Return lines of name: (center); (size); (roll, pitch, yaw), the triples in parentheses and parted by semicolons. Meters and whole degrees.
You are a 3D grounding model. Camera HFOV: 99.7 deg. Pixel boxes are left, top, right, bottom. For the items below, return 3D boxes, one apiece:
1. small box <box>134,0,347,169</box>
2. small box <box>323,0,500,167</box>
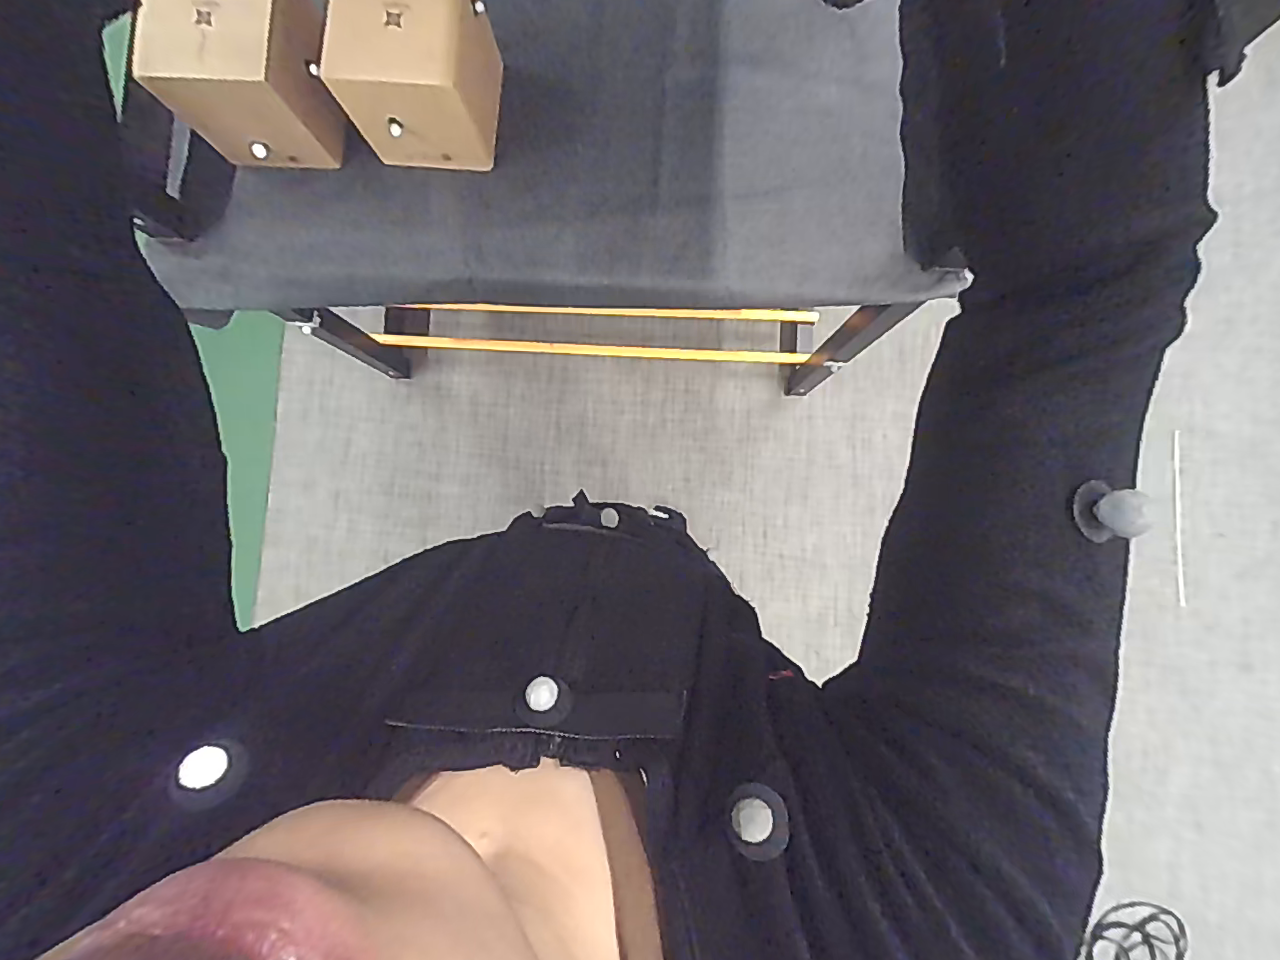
small box: (-0.526, -0.567, 0.740); (0.168, 0.176, 0.179); (3, 86, 0)
small box: (-0.299, -0.564, 0.742); (0.168, 0.176, 0.179); (4, 85, 0)
